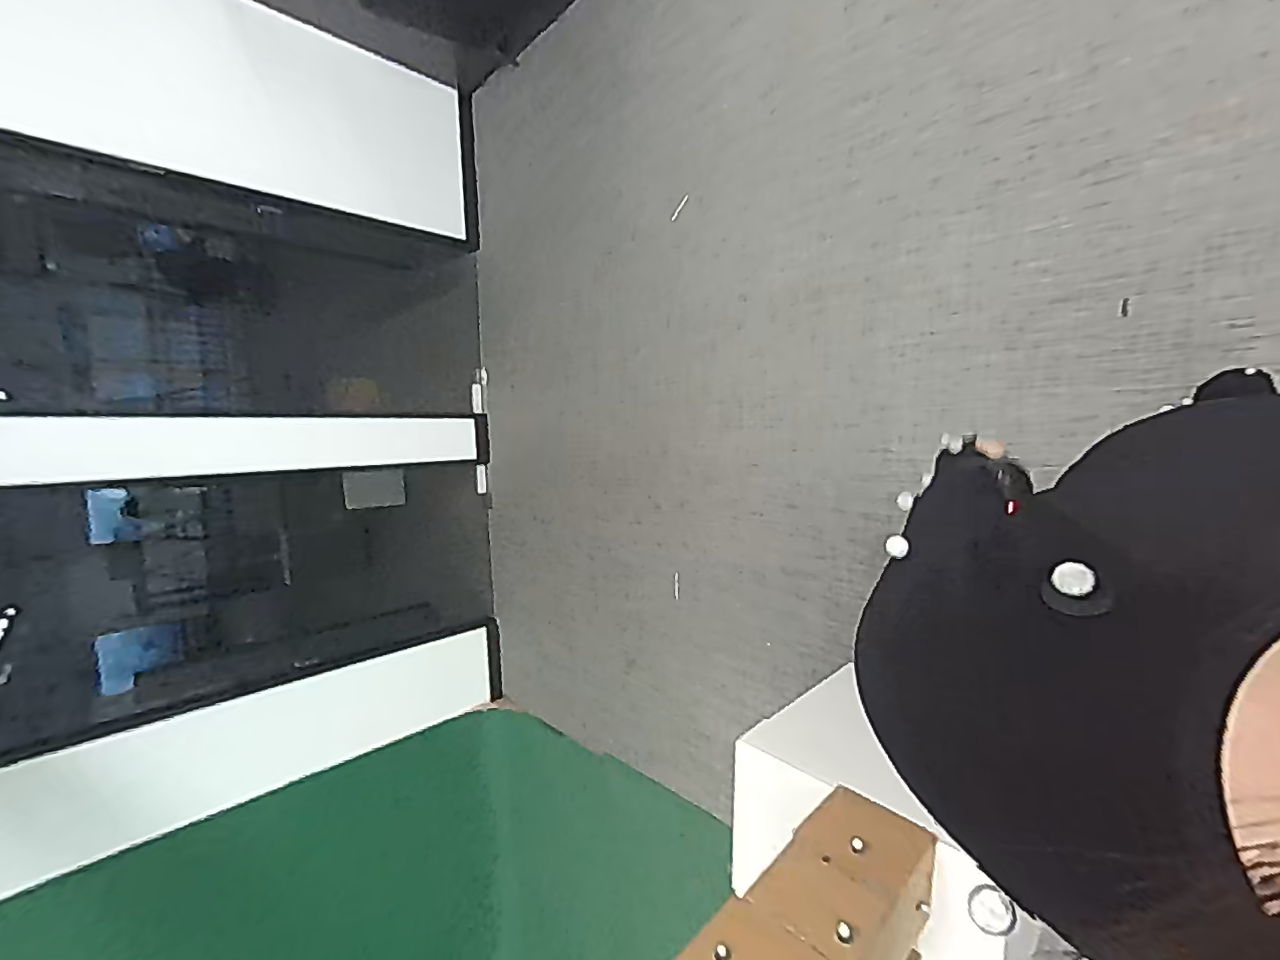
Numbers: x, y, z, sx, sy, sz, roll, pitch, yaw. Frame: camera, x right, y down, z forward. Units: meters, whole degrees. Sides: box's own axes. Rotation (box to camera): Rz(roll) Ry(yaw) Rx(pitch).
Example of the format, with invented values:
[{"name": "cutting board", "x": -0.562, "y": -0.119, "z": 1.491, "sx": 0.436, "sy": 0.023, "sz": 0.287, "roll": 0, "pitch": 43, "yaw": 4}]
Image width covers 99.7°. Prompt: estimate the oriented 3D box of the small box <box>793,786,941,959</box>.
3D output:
[{"name": "small box", "x": 0.387, "y": 0.664, "z": 0.926, "sx": 0.179, "sy": 0.176, "sz": 0.168, "roll": 9, "pitch": 102, "yaw": 46}]
